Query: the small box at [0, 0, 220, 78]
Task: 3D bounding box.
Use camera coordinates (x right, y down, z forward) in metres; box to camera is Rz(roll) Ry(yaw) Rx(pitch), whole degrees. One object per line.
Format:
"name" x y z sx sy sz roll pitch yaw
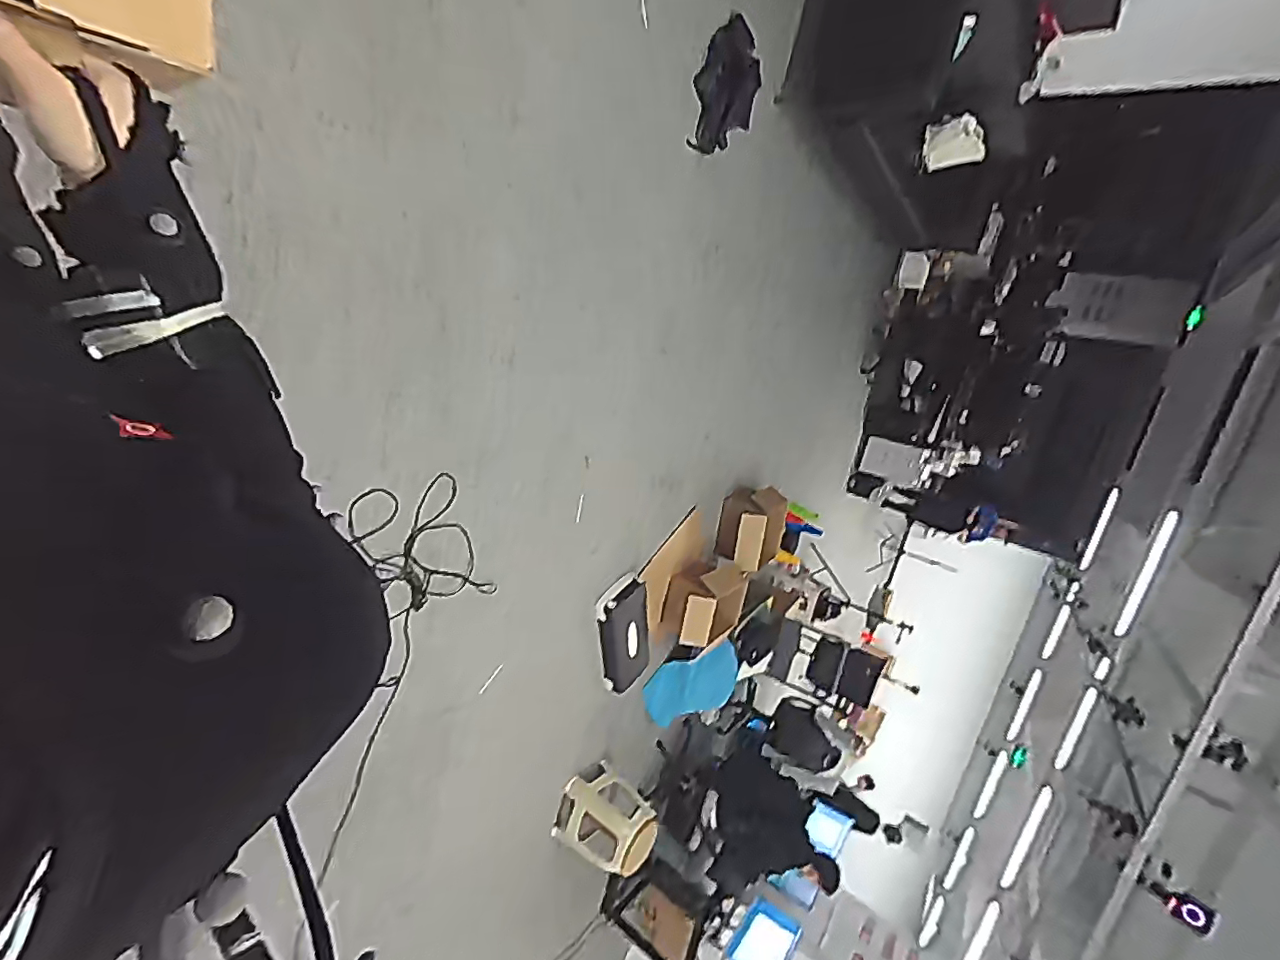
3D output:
"small box" -0.352 -0.359 0.298 0.168 0.176 0.179 -7 118 -46
